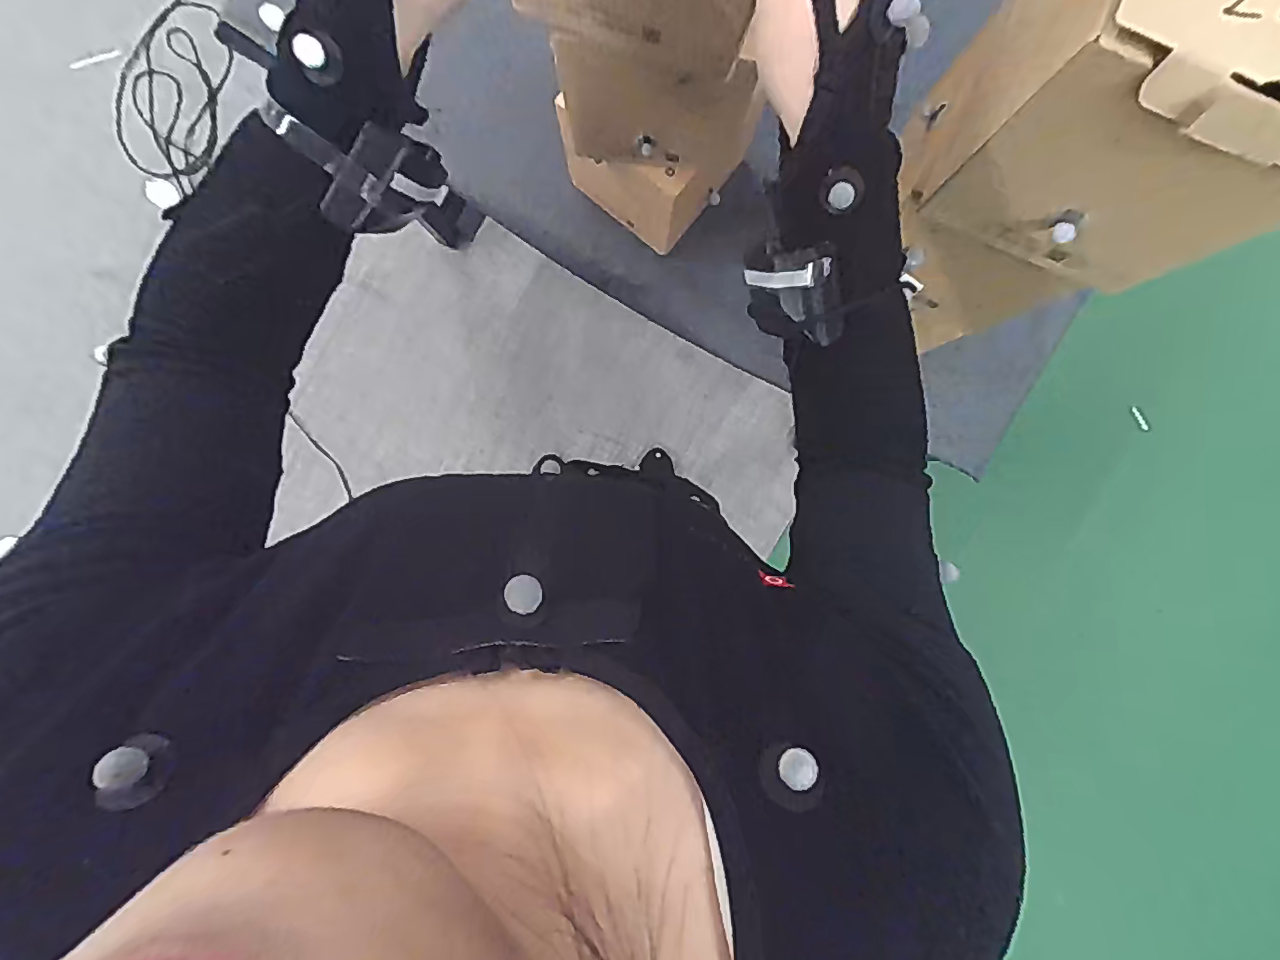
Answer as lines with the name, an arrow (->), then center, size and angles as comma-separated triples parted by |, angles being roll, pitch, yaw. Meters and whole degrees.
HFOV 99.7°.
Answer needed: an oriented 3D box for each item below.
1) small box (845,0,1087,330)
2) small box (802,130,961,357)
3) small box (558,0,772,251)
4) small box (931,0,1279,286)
small box -> 0.318, -0.267, 0.497 | 0.168, 0.176, 0.179 | 26, 92, 0
small box -> 0.319, -0.273, 0.659 | 0.168, 0.176, 0.179 | 30, 90, -1
small box -> 0.024, -0.419, 0.652 | 0.168, 0.176, 0.179 | 38, 90, -2
small box -> 0.318, -0.253, 0.332 | 0.168, 0.176, 0.179 | 22, 90, 1
